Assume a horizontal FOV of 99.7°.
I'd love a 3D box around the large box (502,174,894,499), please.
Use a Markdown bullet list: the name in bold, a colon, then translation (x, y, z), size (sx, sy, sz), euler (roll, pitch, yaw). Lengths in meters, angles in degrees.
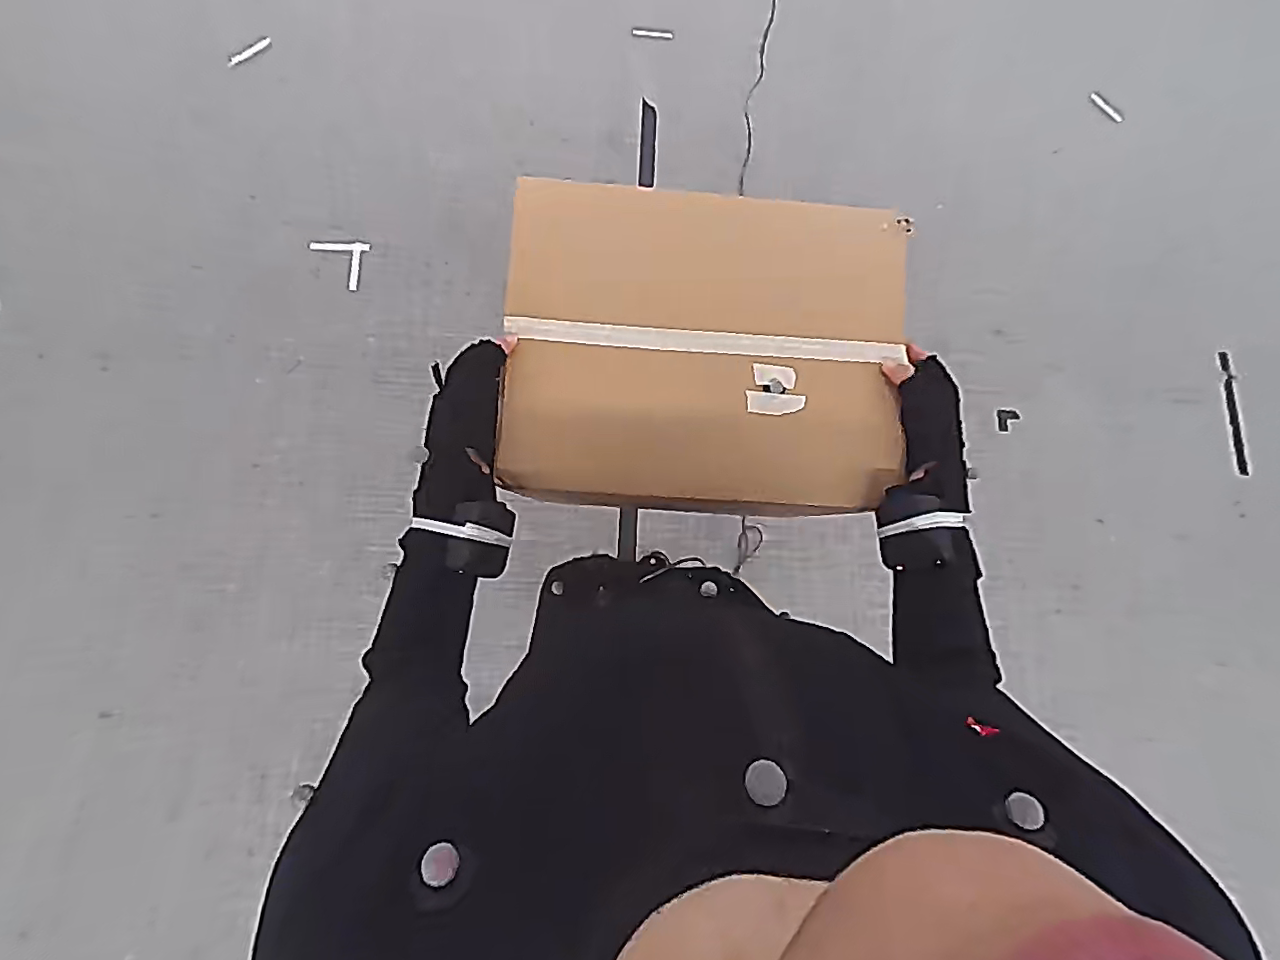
- **large box**: translation (0.054, -0.142, 0.702), size (0.408, 0.320, 0.320), euler (4, 87, -4)
